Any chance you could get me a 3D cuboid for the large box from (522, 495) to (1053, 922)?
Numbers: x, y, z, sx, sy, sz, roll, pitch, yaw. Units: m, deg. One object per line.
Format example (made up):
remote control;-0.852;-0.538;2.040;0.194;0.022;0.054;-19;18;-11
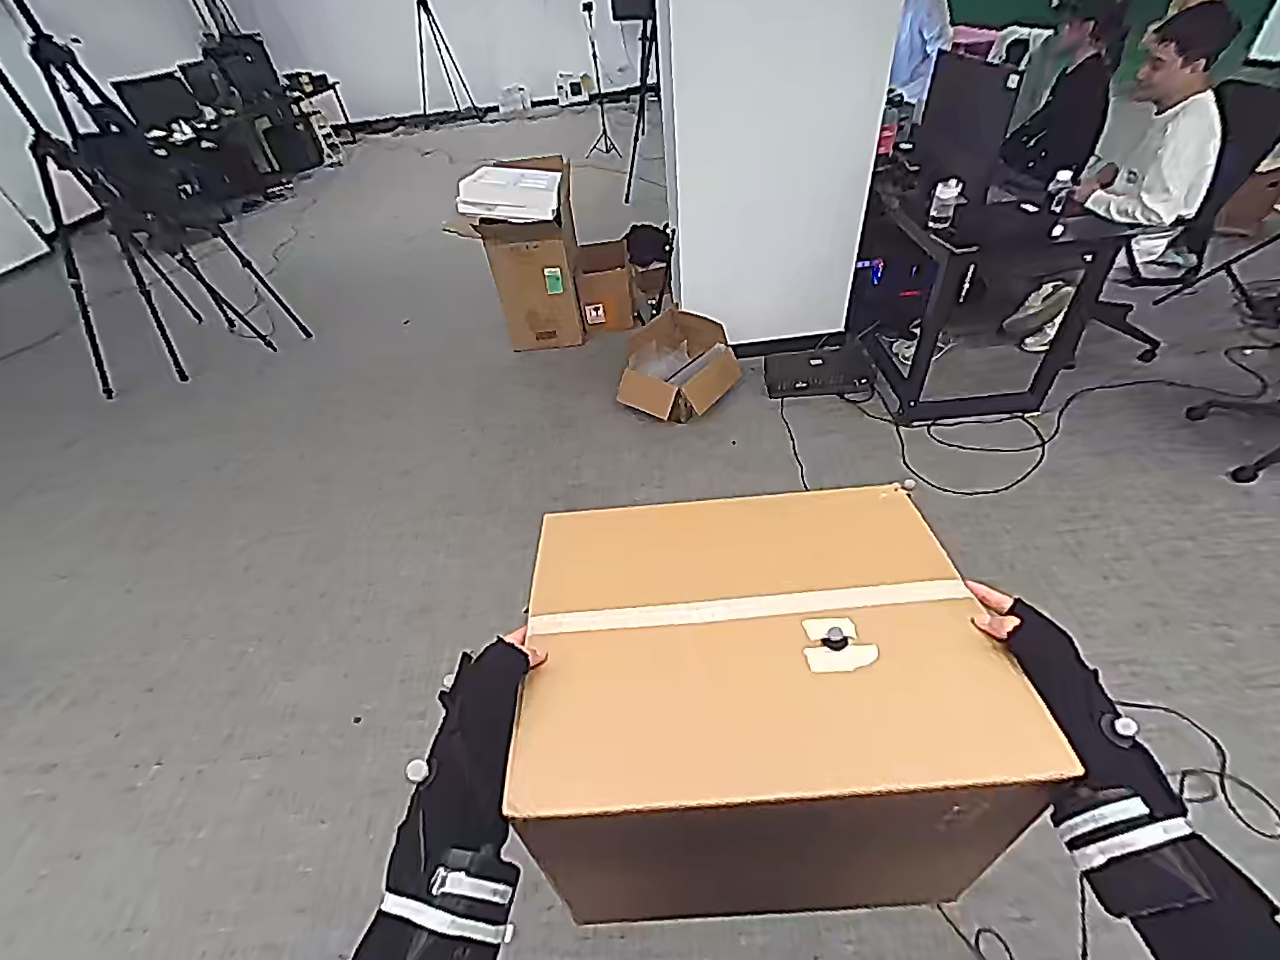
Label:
large box;0.112;0.247;0.604;0.408;0.320;0.320;-5;39;1
